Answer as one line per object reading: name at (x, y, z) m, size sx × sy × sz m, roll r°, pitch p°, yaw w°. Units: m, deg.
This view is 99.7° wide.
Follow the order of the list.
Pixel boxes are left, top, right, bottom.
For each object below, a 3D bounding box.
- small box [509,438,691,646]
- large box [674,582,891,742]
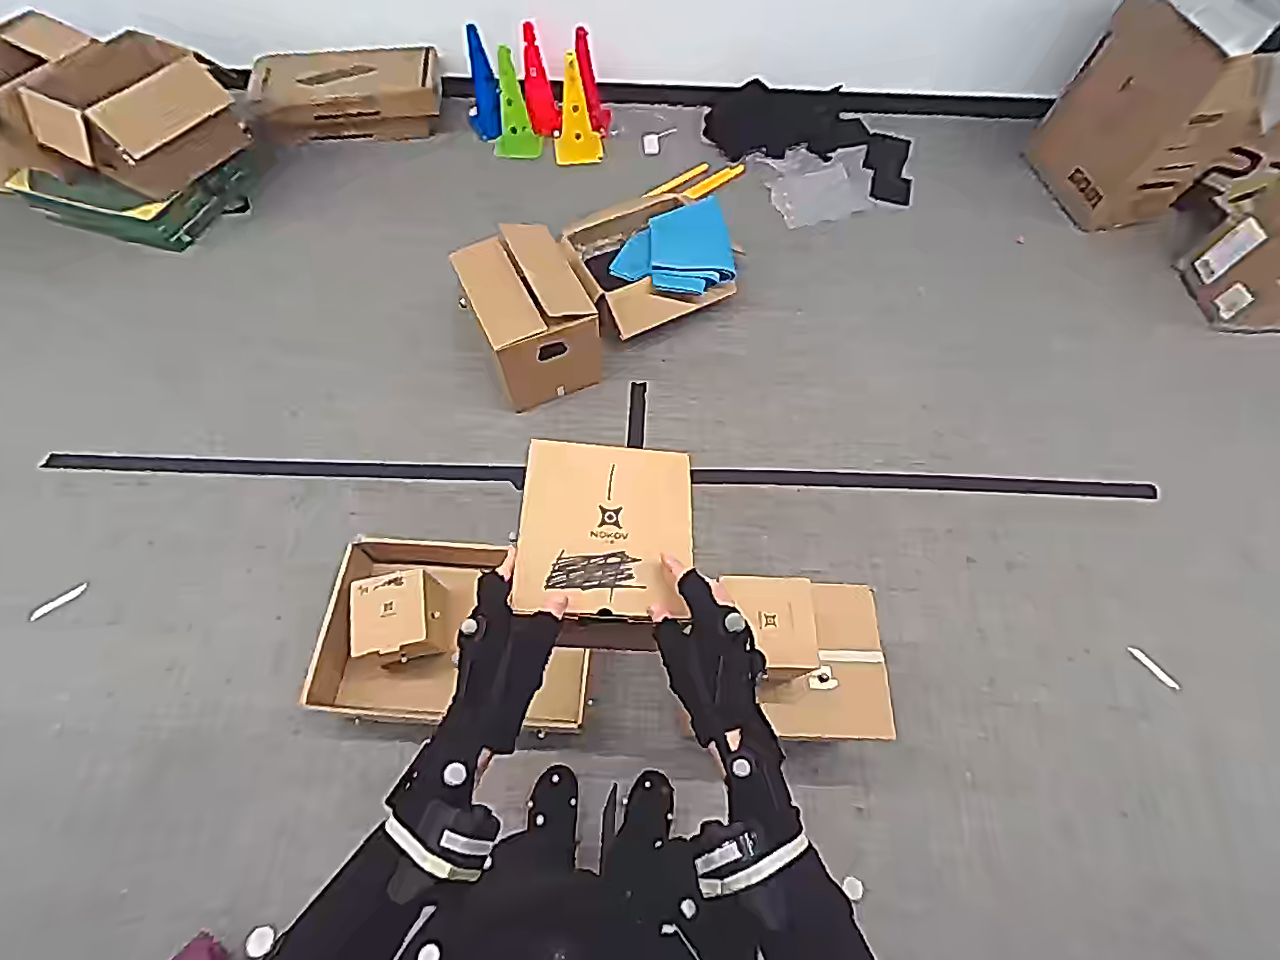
small box at (-0.044, 0.078, 0.587) m, size 0.168 × 0.176 × 0.179 m, roll 6°, pitch 62°, yaw -9°
large box at (0.296, 0.436, 1.264) m, size 0.408 × 0.320 × 0.320 m, roll 2°, pitch 64°, yaw -2°
